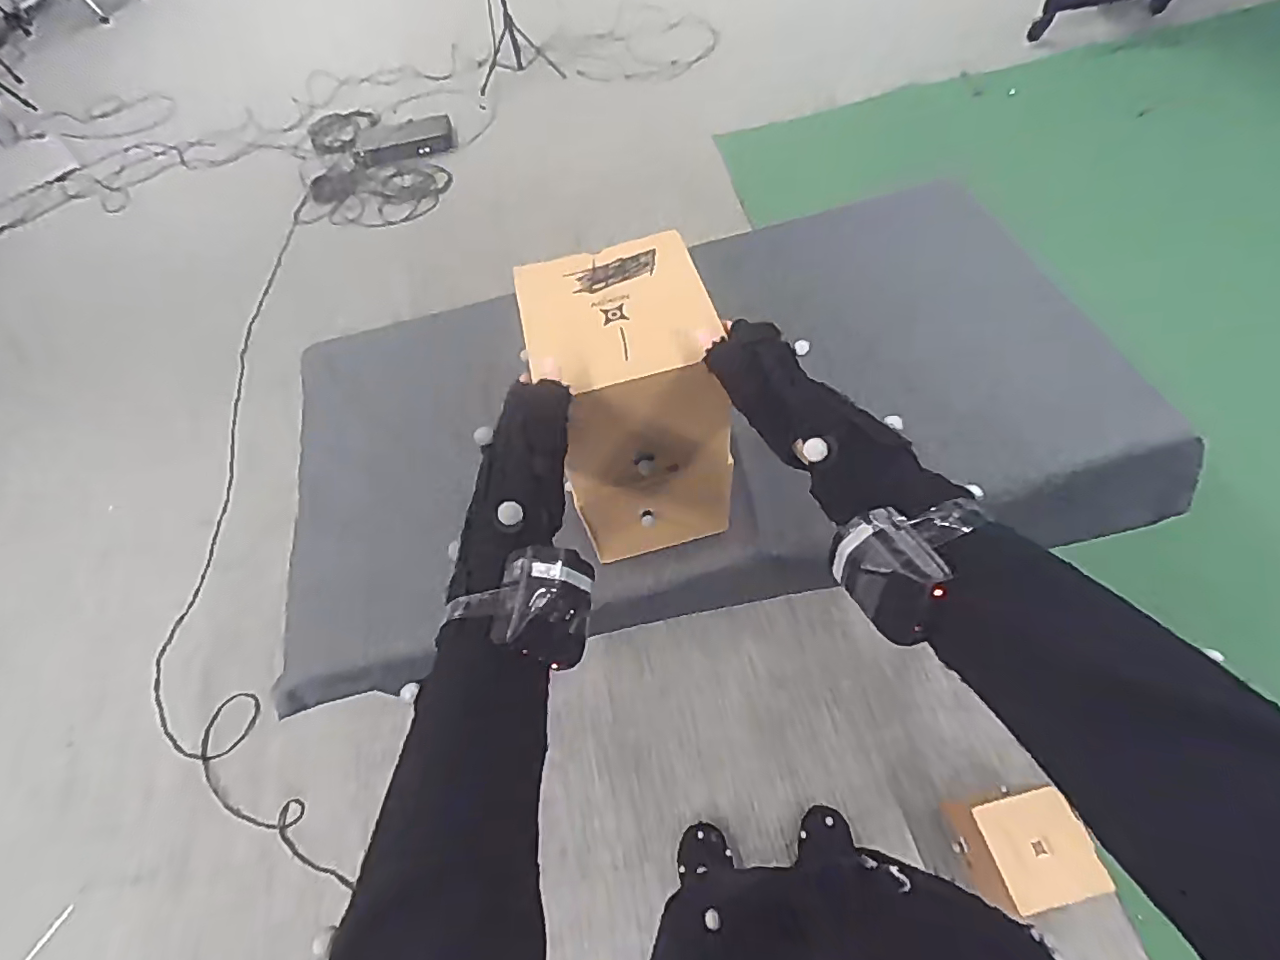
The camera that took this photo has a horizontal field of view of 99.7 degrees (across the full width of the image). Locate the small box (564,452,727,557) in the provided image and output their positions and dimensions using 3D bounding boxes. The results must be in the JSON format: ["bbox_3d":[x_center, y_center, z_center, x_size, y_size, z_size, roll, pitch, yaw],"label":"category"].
[{"bbox_3d":[0.004,-0.020,0.684,0.179,0.176,0.168,-14,59,-1],"label":"small box"}]

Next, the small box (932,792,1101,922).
[{"bbox_3d":[0.702,0.708,1.034,0.179,0.176,0.168,-15,59,-1],"label":"small box"}]

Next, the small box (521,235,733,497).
[{"bbox_3d":[-0.013,-0.108,0.546,0.168,0.176,0.179,-13,59,-1],"label":"small box"}]
